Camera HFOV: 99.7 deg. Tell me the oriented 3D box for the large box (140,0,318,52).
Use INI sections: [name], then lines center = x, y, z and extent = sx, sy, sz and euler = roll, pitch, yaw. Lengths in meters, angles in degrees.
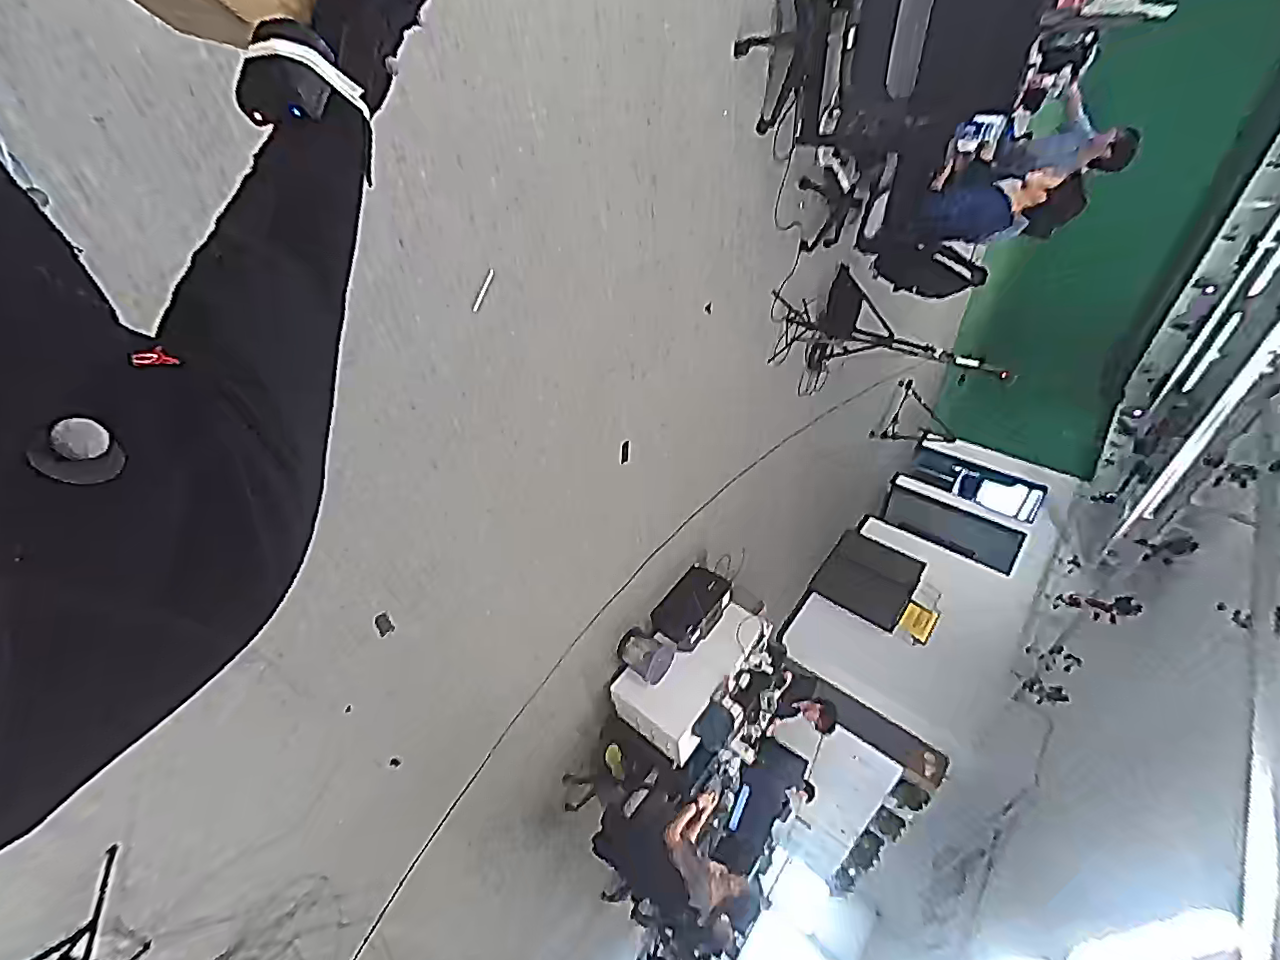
[large box]
center = -0.419, -0.583, 0.330
extent = 0.320, 0.320, 0.408
euler = -59, 152, 7
